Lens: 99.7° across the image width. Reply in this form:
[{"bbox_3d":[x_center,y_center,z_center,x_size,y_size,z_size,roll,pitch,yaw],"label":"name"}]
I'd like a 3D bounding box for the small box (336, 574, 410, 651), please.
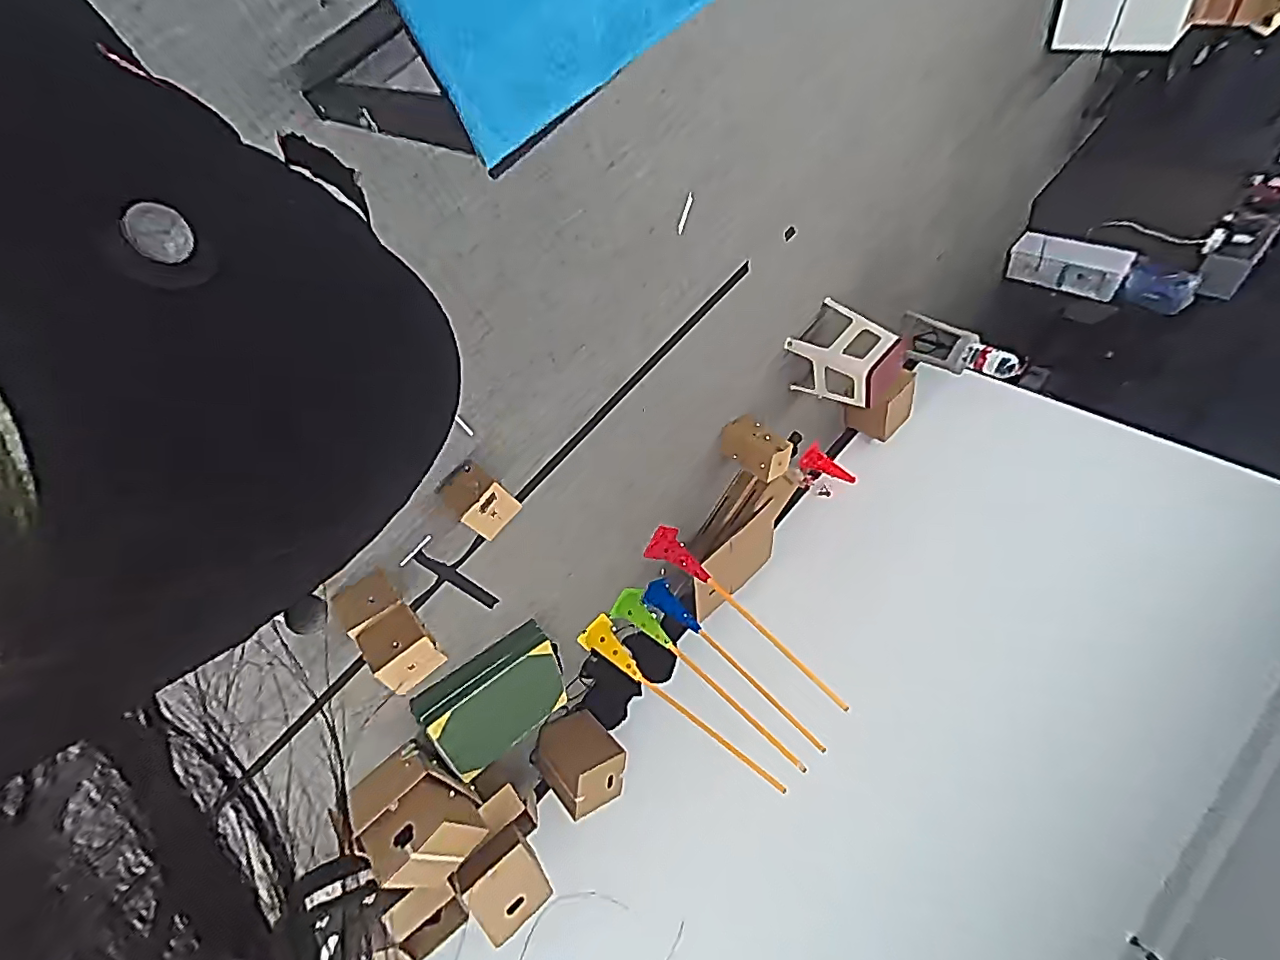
[{"bbox_3d":[-0.857,0.444,1.777,0.179,0.176,0.168,-35,141,-22],"label":"small box"}]

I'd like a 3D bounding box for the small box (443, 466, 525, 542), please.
[{"bbox_3d":[-0.532,0.076,1.834,0.168,0.176,0.179,-47,145,-9],"label":"small box"}]

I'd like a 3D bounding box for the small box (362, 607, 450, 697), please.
[{"bbox_3d":[-0.738,0.536,1.703,0.179,0.176,0.168,-36,140,-21],"label":"small box"}]
